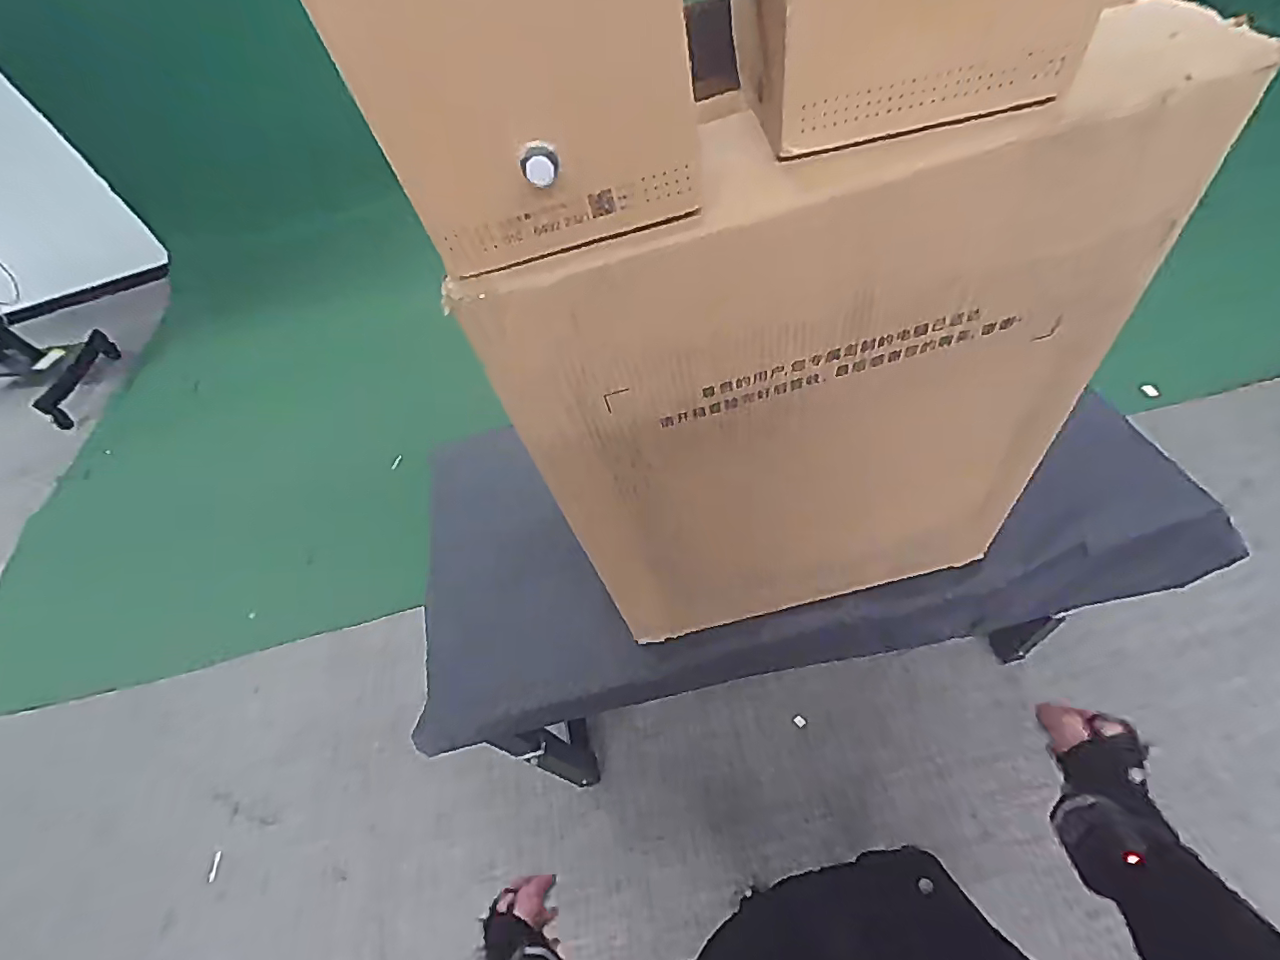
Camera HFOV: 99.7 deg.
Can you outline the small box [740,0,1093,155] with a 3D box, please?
[{"bbox_3d":[0.155,-0.325,0.322,0.179,0.176,0.168,-10,53,6],"label":"small box"}]
